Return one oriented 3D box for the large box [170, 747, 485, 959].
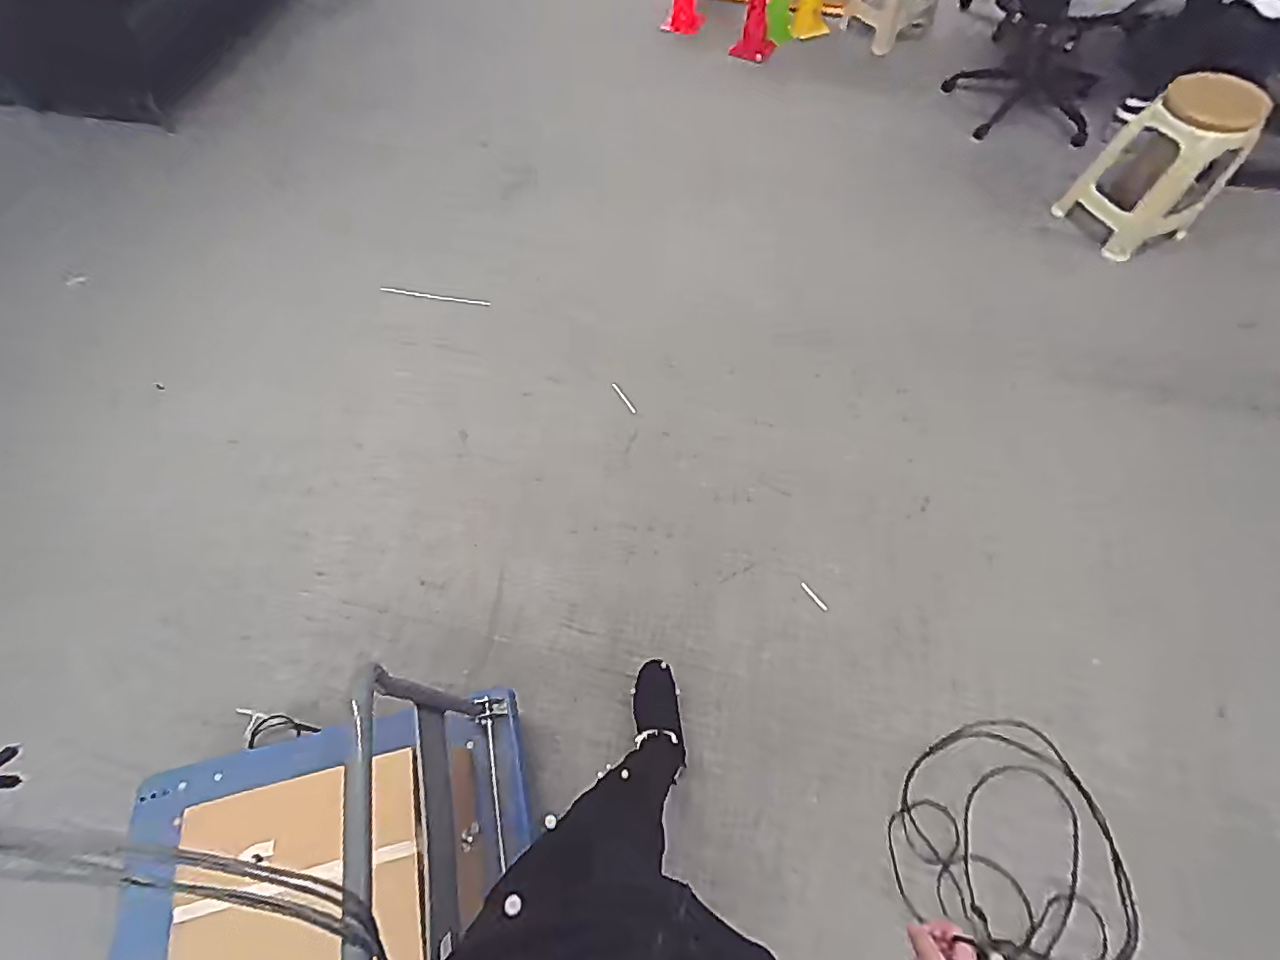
[{"bbox_3d":[-0.550,0.726,1.022,0.408,0.320,0.320,-14,63,-3],"label":"large box"}]
